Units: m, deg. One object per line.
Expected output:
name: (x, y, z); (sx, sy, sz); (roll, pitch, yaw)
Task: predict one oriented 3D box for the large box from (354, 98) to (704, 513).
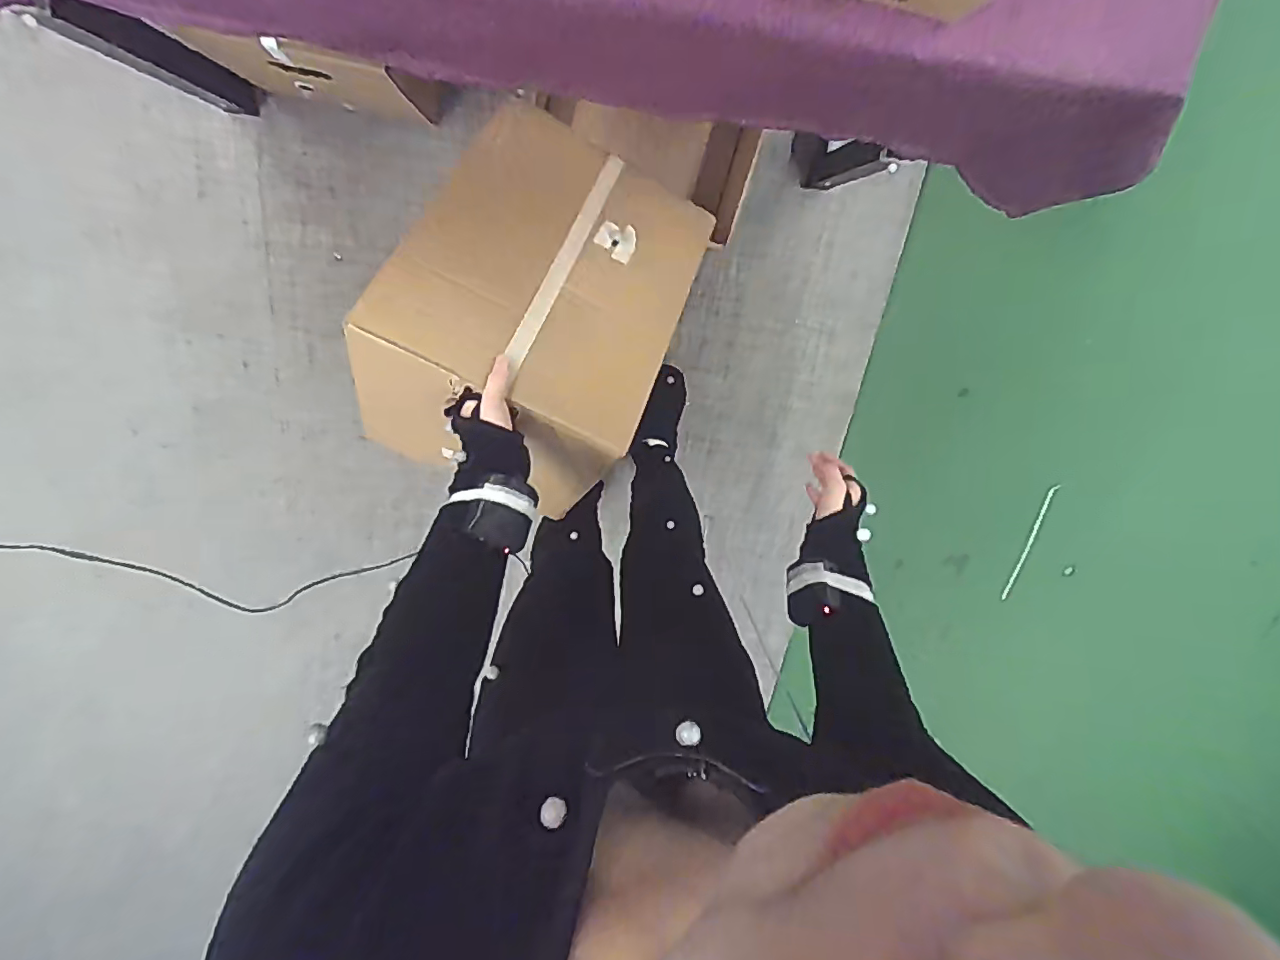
large box: (-0.149, -0.217, 0.779); (0.320, 0.320, 0.408); (25, 65, -13)
